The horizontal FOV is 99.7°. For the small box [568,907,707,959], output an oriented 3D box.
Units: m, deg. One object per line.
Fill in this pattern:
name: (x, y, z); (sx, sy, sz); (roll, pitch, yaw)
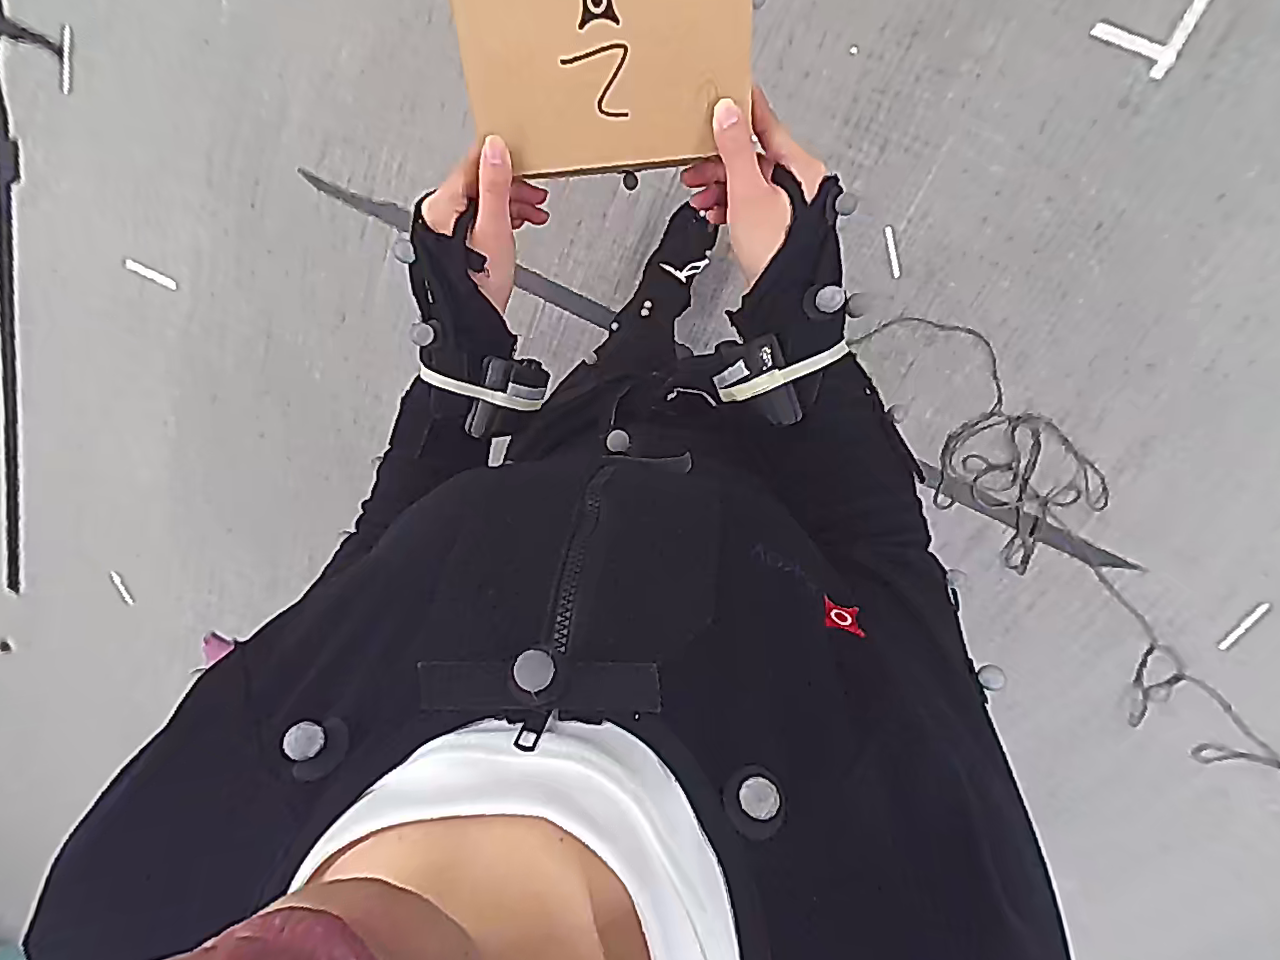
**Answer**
small box: (-0.017, 0.782, 0.797); (0.179, 0.176, 0.168); (34, 111, -2)
